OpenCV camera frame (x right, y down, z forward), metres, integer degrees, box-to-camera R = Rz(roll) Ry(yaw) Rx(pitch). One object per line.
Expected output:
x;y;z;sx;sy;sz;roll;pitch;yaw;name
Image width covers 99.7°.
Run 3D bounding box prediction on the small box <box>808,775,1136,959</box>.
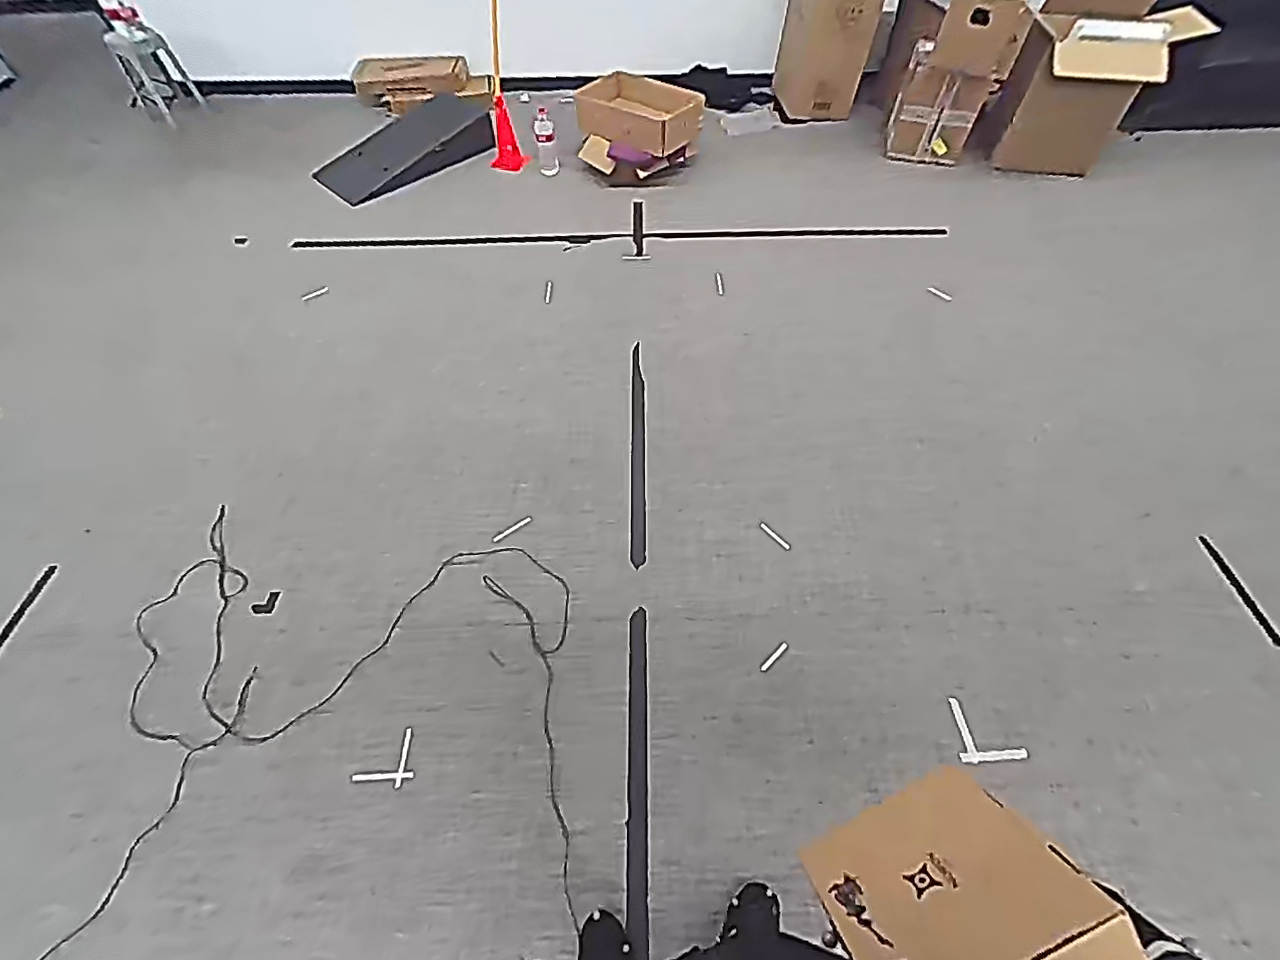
0.277;0.400;0.449;0.179;0.168;0.176;-26;94;-4;small box
